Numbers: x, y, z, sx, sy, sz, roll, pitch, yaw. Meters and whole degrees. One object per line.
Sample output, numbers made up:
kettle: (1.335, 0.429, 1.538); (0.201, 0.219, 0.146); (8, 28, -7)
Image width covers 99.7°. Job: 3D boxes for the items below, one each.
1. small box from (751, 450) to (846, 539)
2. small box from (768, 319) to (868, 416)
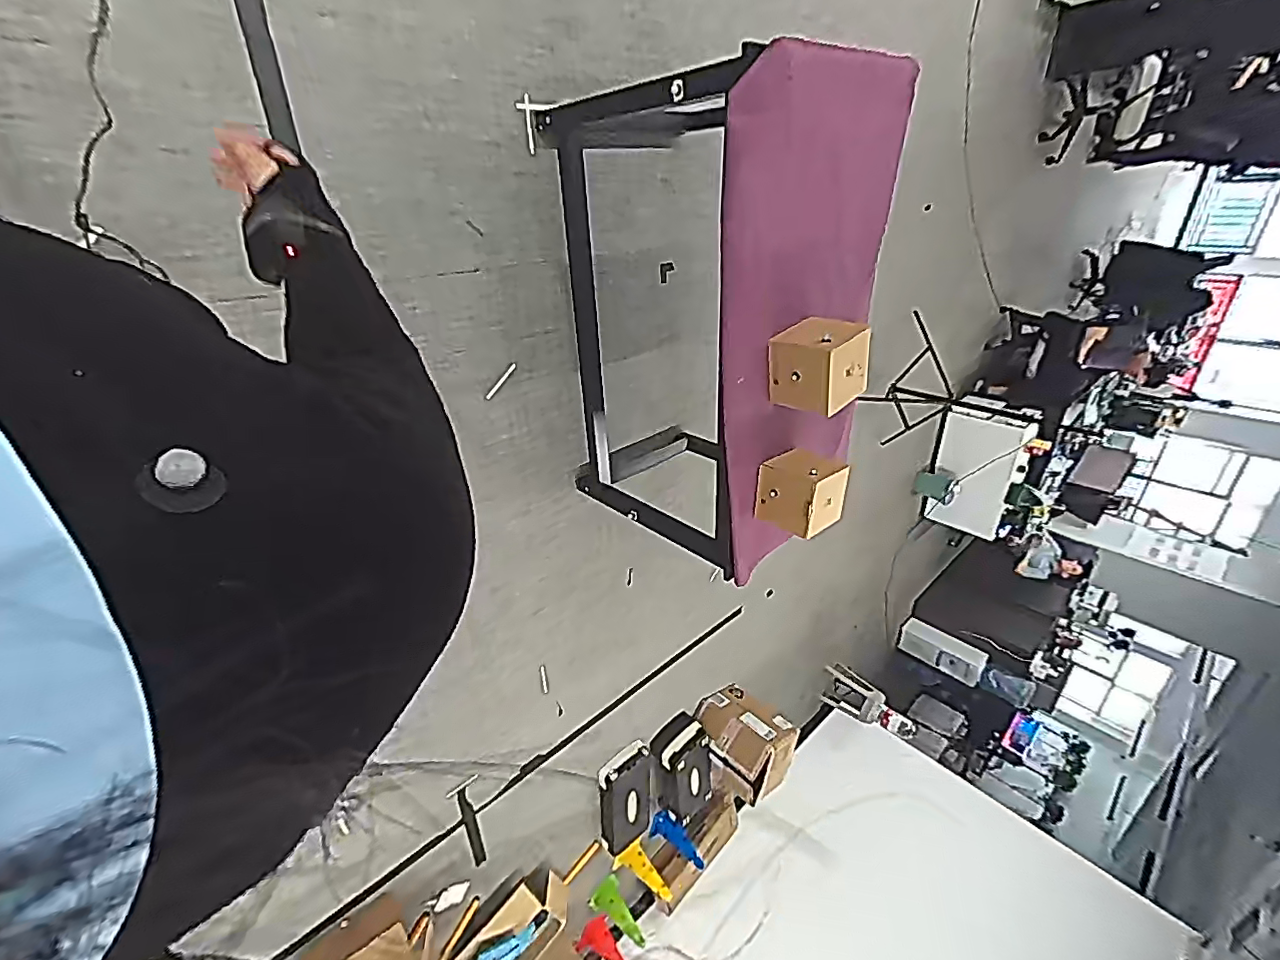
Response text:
small box: (0.428, 0.031, 1.467); (0.179, 0.176, 0.168); (-21, 122, -39)
small box: (0.427, -0.279, 1.315); (0.179, 0.176, 0.168); (-33, 130, -31)
